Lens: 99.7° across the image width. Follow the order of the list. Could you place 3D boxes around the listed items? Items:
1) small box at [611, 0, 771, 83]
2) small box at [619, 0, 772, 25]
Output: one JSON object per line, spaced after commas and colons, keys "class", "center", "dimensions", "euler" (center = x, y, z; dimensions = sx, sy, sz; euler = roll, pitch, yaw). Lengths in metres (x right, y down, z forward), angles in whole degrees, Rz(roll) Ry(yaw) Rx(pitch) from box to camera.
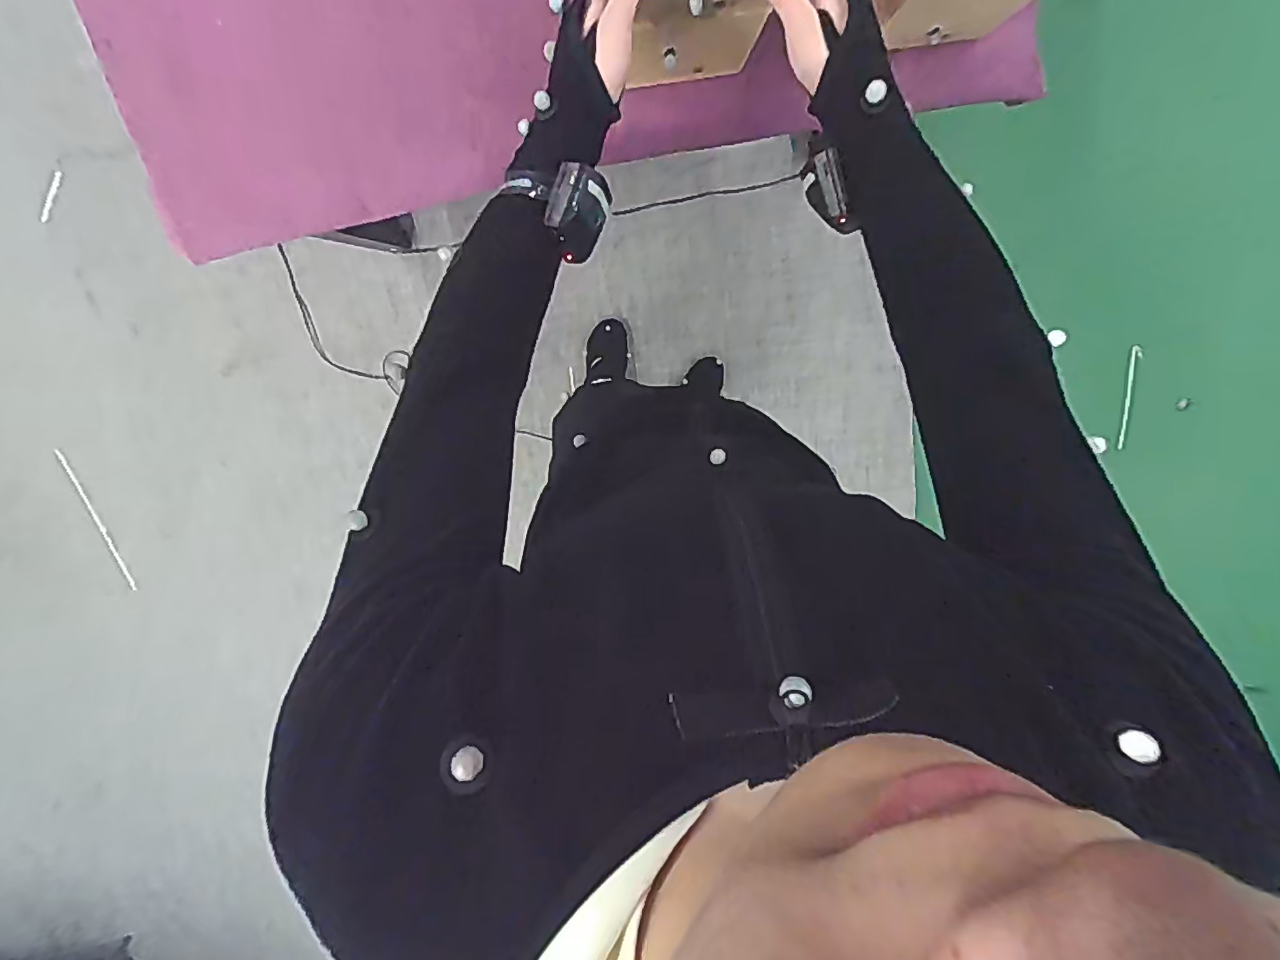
{"class": "small box", "center": [0.048, -0.589, 0.621], "dimensions": [0.168, 0.176, 0.179], "euler": [-7, 107, 1]}
{"class": "small box", "center": [0.053, -0.543, 0.464], "dimensions": [0.168, 0.176, 0.179], "euler": [-6, 108, 1]}
